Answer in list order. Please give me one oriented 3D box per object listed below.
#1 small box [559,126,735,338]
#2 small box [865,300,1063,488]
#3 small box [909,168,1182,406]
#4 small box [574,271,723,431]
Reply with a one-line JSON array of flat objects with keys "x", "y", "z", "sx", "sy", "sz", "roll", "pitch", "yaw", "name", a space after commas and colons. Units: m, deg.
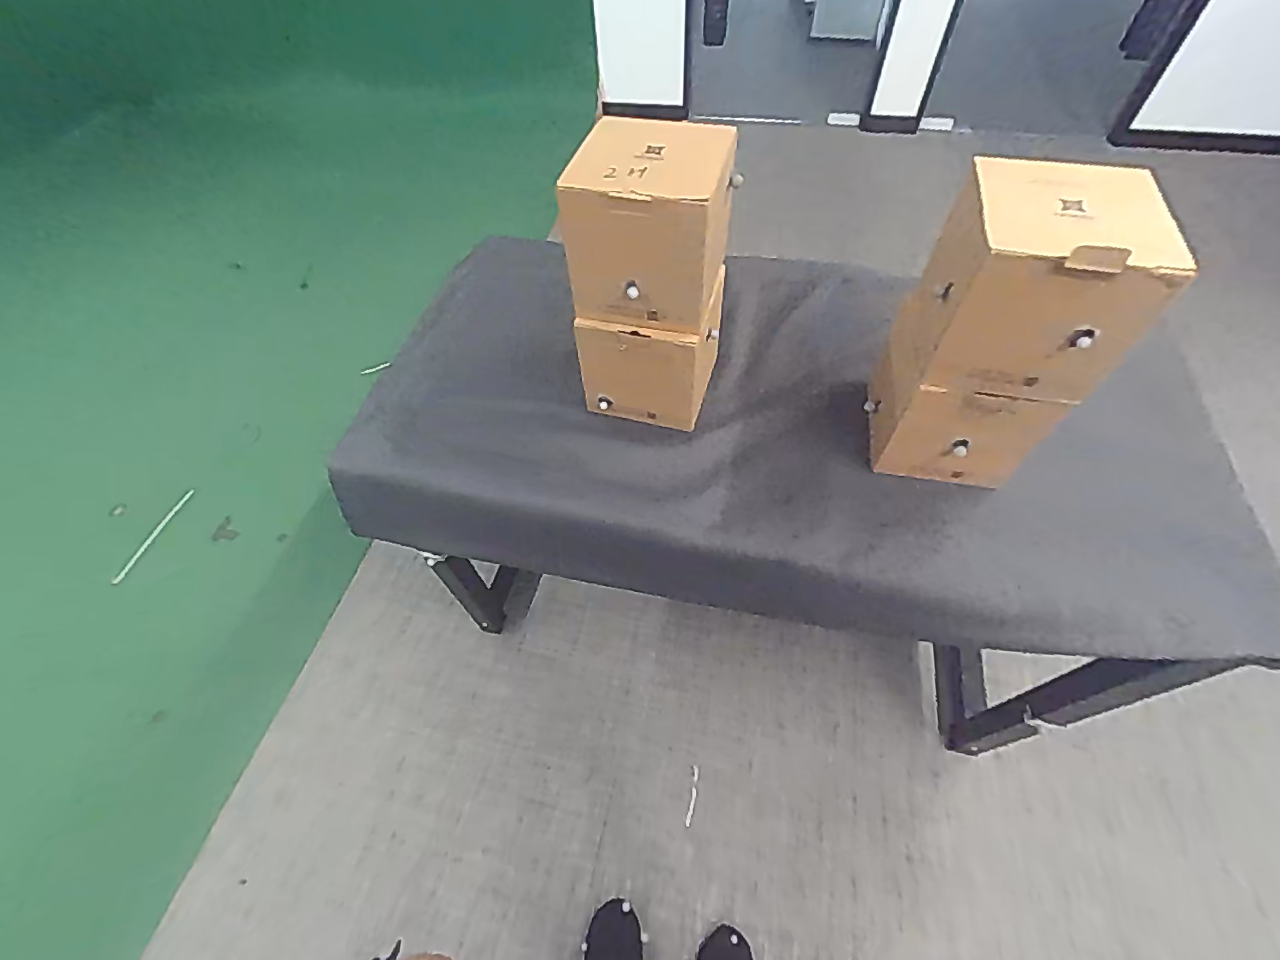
[{"x": 0.015, "y": -0.305, "z": 0.669, "sx": 0.168, "sy": 0.176, "sz": 0.179, "roll": 11, "pitch": 56, "yaw": 11, "name": "small box"}, {"x": 0.407, "y": -0.110, "z": 0.716, "sx": 0.168, "sy": 0.176, "sz": 0.179, "roll": 8, "pitch": 56, "yaw": 8, "name": "small box"}, {"x": 0.406, "y": -0.204, "z": 0.583, "sx": 0.168, "sy": 0.176, "sz": 0.179, "roll": 11, "pitch": 55, "yaw": 9, "name": "small box"}, {"x": 0.018, "y": -0.197, "z": 0.794, "sx": 0.168, "sy": 0.176, "sz": 0.179, "roll": 13, "pitch": 55, "yaw": 11, "name": "small box"}]
